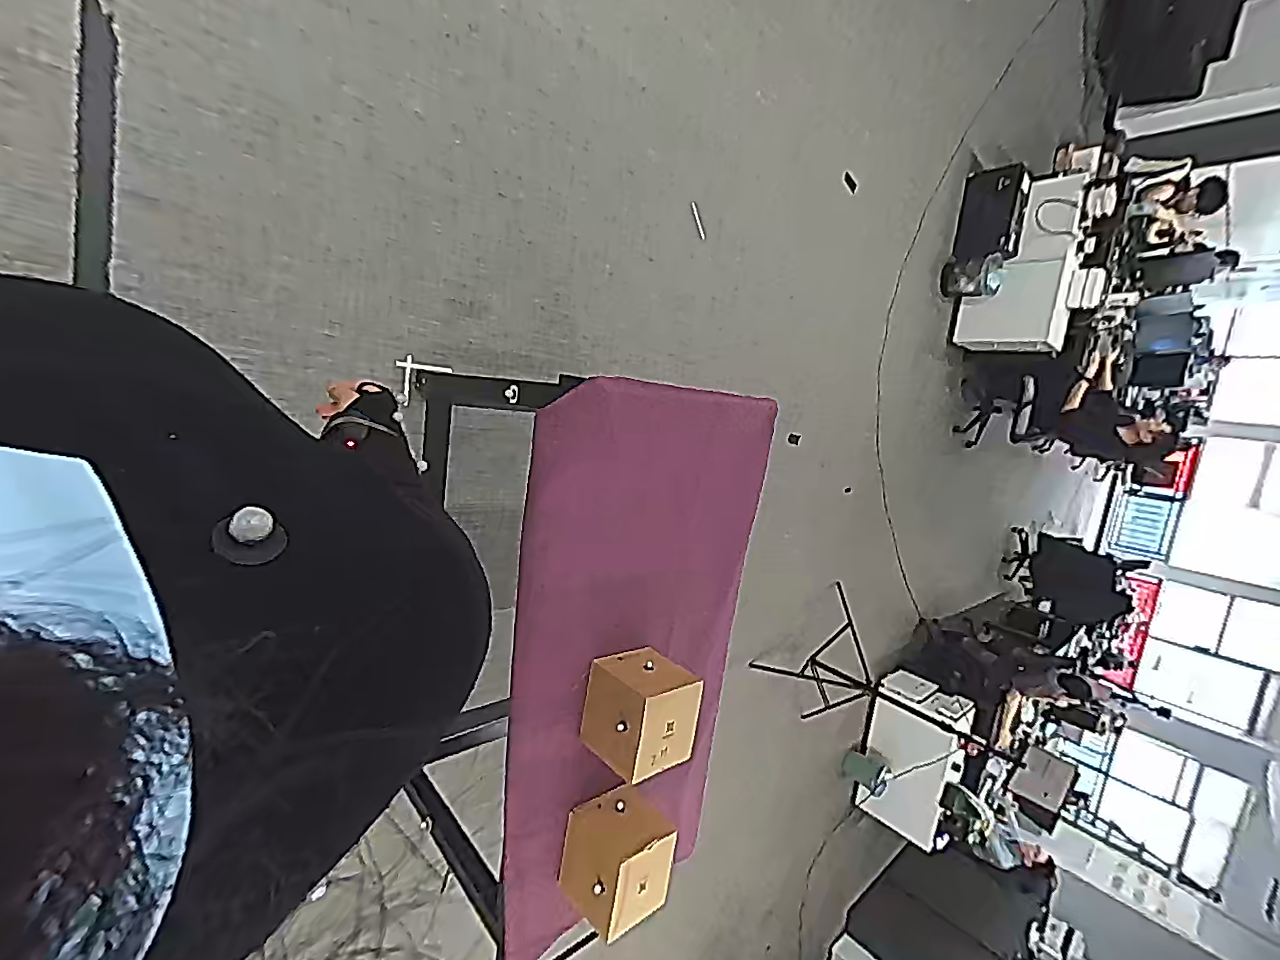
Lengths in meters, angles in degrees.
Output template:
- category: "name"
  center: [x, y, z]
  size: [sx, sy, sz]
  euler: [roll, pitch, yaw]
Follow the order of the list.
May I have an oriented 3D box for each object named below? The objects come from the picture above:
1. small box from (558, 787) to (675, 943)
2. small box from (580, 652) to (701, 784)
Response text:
- category: "small box"
  center: [-0.054, 0.797, 1.141]
  size: [0.168, 0.176, 0.179]
  euler: [5, 97, -45]
- category: "small box"
  center: [-0.003, 0.468, 1.101]
  size: [0.168, 0.176, 0.179]
  euler: [5, 98, -43]
